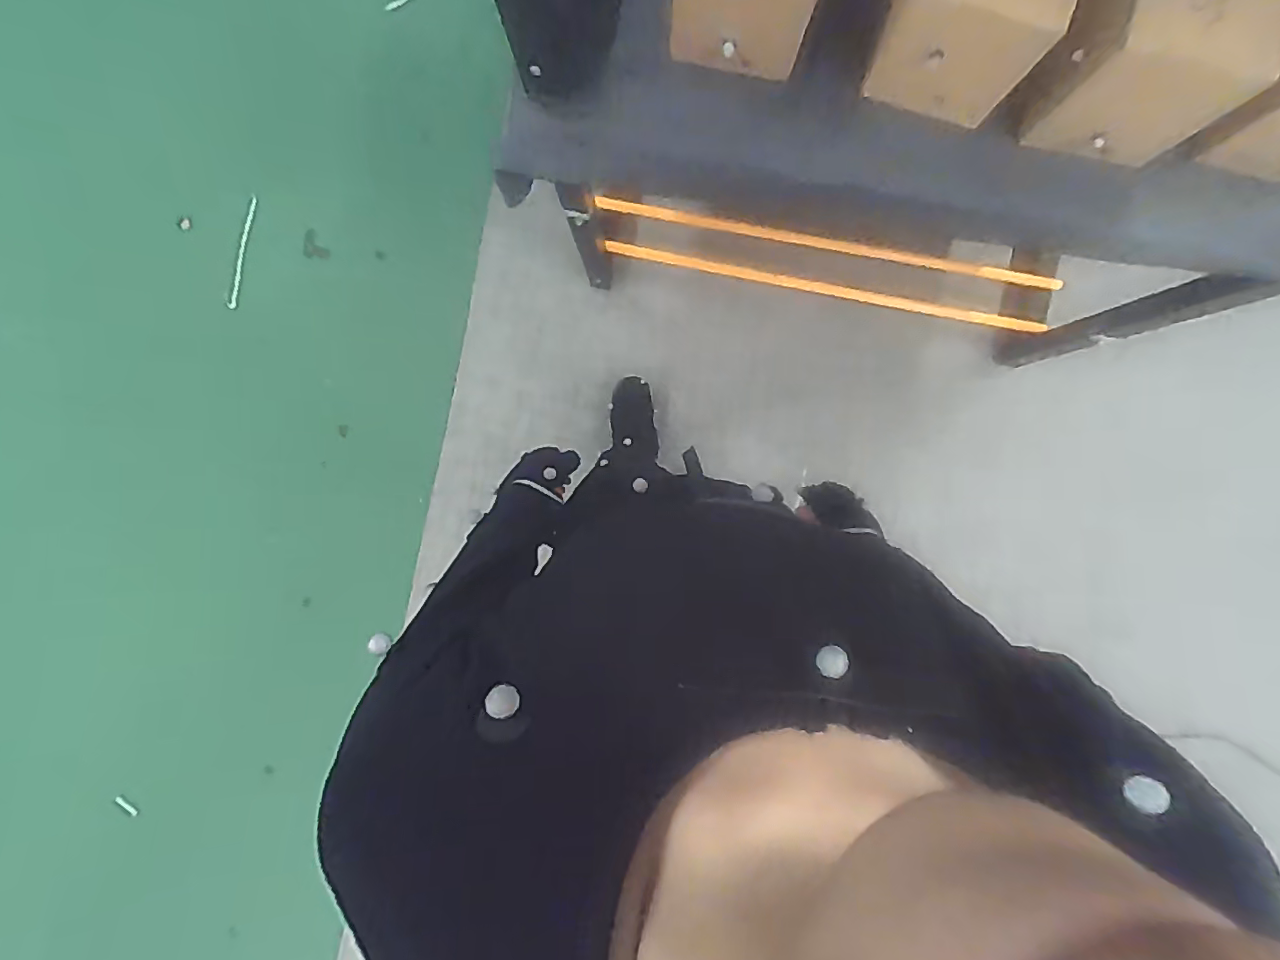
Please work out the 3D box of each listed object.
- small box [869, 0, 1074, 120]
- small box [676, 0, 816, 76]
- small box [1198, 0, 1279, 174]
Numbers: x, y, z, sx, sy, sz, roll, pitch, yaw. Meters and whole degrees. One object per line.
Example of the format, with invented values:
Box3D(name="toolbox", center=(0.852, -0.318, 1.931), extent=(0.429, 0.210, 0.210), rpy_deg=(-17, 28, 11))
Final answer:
Box3D(name="small box", center=(0.401, -0.583, 0.651), extent=(0.168, 0.176, 0.179), rpy_deg=(18, 92, 1))
Box3D(name="small box", center=(0.139, -0.646, 0.654), extent=(0.168, 0.176, 0.179), rpy_deg=(12, 93, 1))
Box3D(name="small box", center=(0.833, -0.491, 0.637), extent=(0.168, 0.176, 0.179), rpy_deg=(15, 91, 1))
